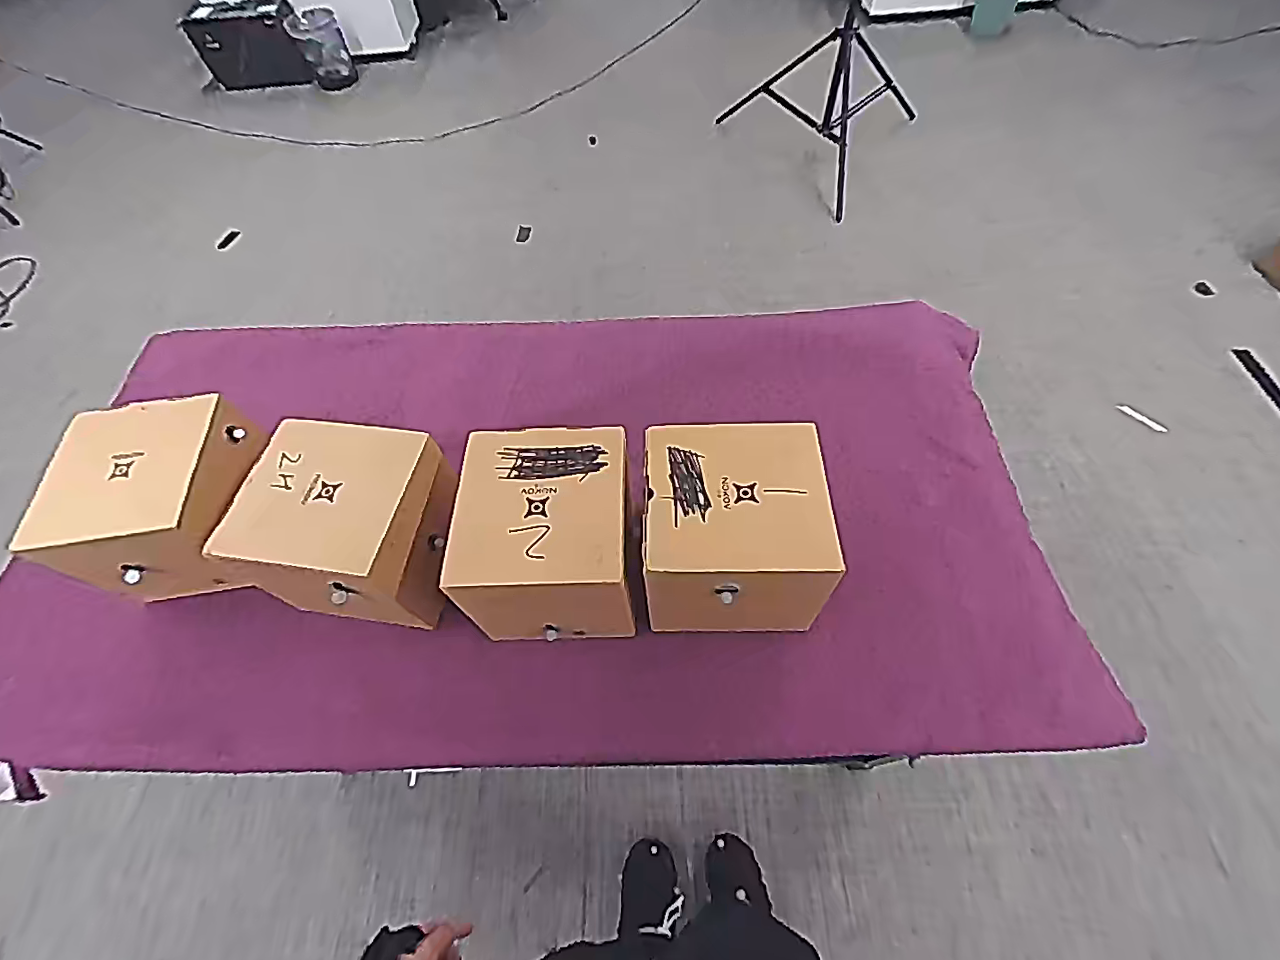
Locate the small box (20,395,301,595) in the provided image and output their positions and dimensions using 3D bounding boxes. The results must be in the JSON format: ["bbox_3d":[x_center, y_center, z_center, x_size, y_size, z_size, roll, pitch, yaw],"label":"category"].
[{"bbox_3d":[-0.543,0.028,0.648,0.168,0.176,0.179,-9,59,-2],"label":"small box"}]
